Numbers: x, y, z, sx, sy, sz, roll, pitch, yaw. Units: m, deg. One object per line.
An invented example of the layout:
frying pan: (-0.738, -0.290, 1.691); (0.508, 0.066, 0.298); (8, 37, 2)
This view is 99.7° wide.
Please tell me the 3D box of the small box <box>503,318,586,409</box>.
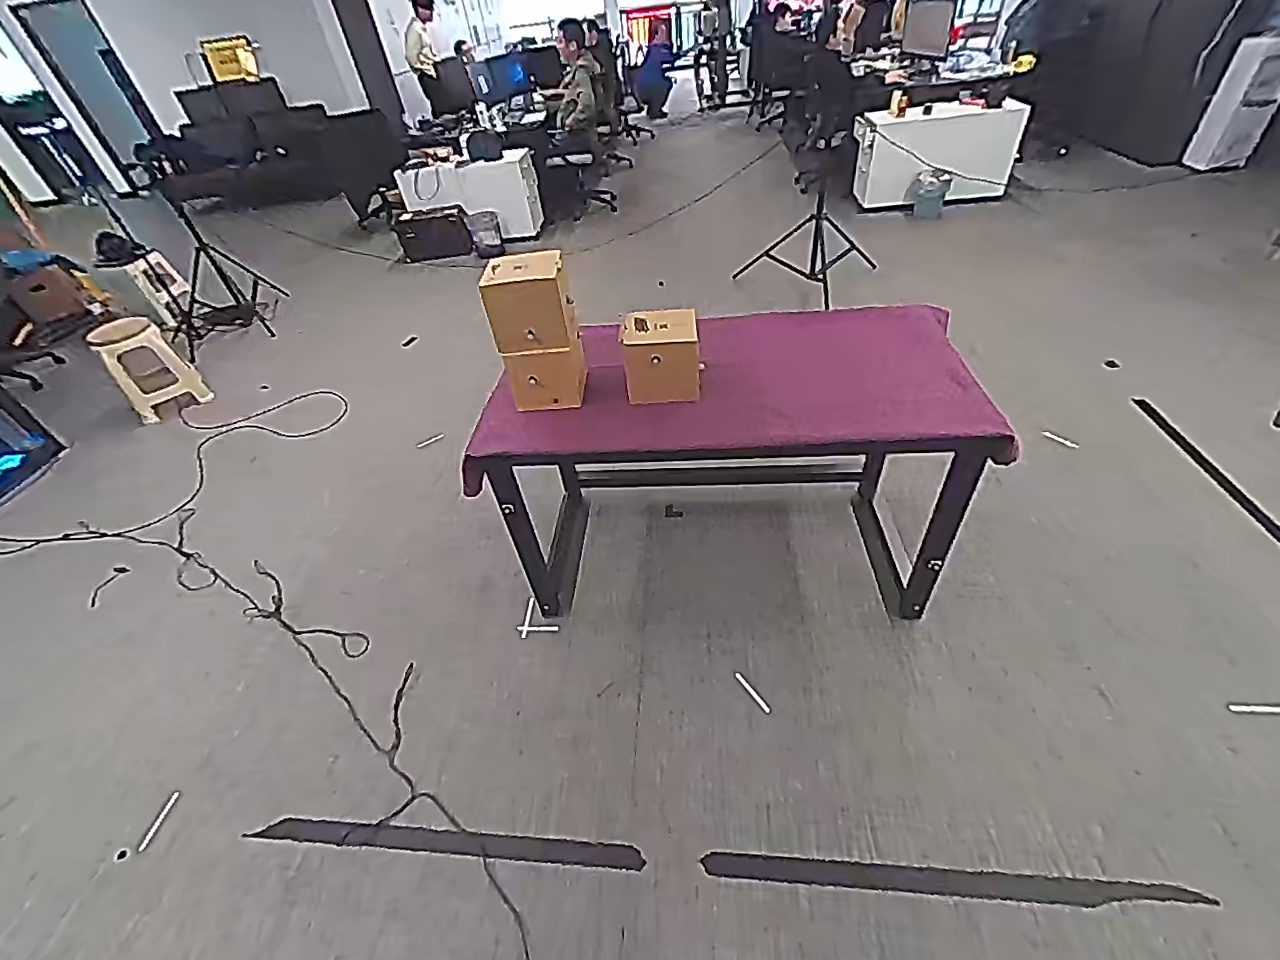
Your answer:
small box: (-0.236, -0.293, 1.389); (0.168, 0.176, 0.179); (-4, 42, 4)

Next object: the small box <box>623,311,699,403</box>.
small box: (0.057, -0.306, 1.356); (0.179, 0.176, 0.168); (-2, 43, 5)

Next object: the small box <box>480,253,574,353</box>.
small box: (-0.258, -0.418, 1.285); (0.179, 0.176, 0.168); (-5, 42, 3)
